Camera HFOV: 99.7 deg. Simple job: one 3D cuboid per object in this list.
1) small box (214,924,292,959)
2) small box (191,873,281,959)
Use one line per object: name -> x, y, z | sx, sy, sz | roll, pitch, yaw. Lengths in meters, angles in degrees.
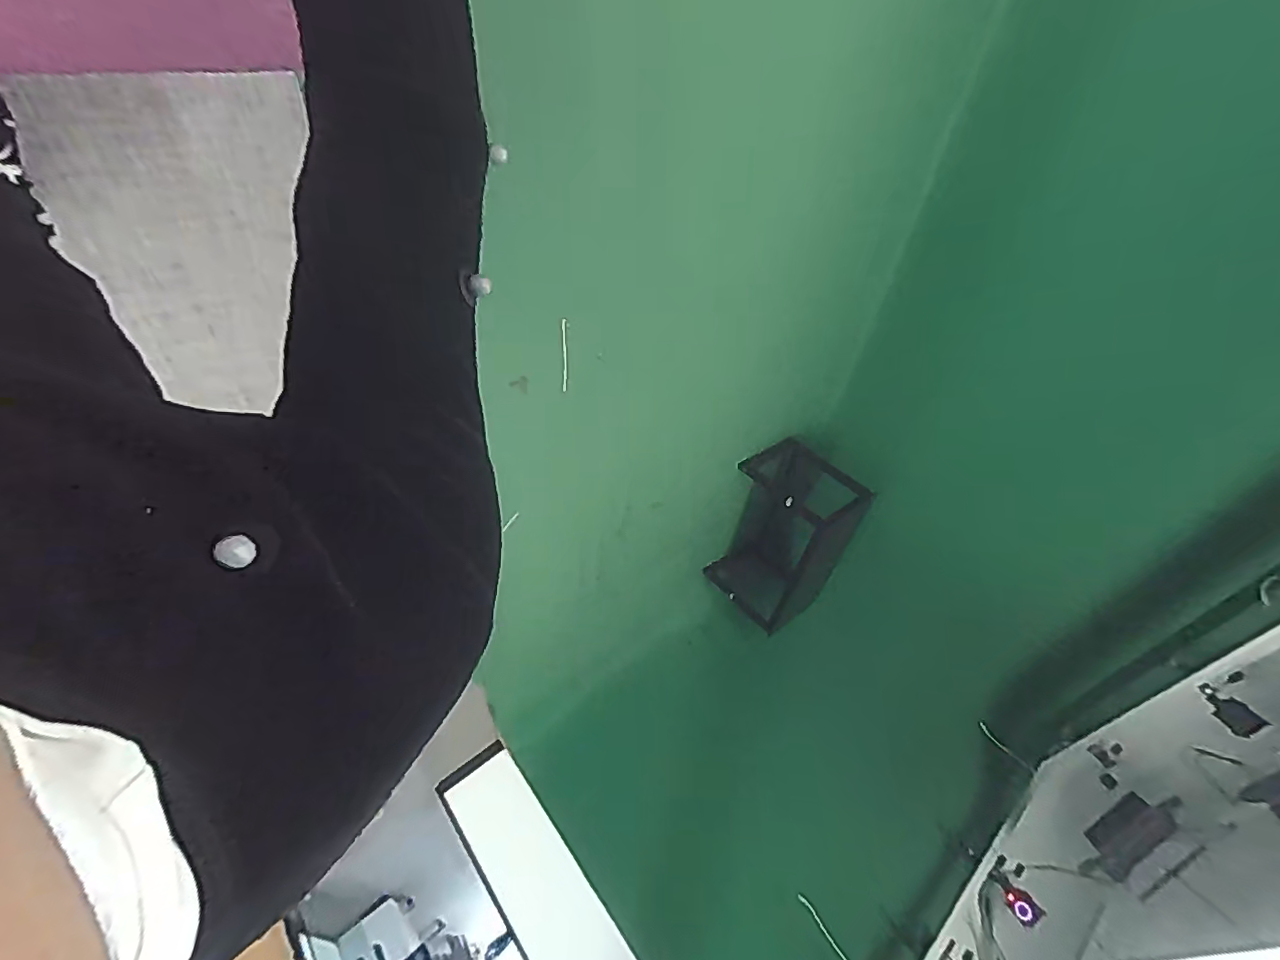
small box -> -1.129, 1.445, 1.573 | 0.168, 0.176, 0.179 | -25, 143, -35
small box -> -1.236, 1.356, 1.659 | 0.168, 0.176, 0.179 | -25, 141, -35
